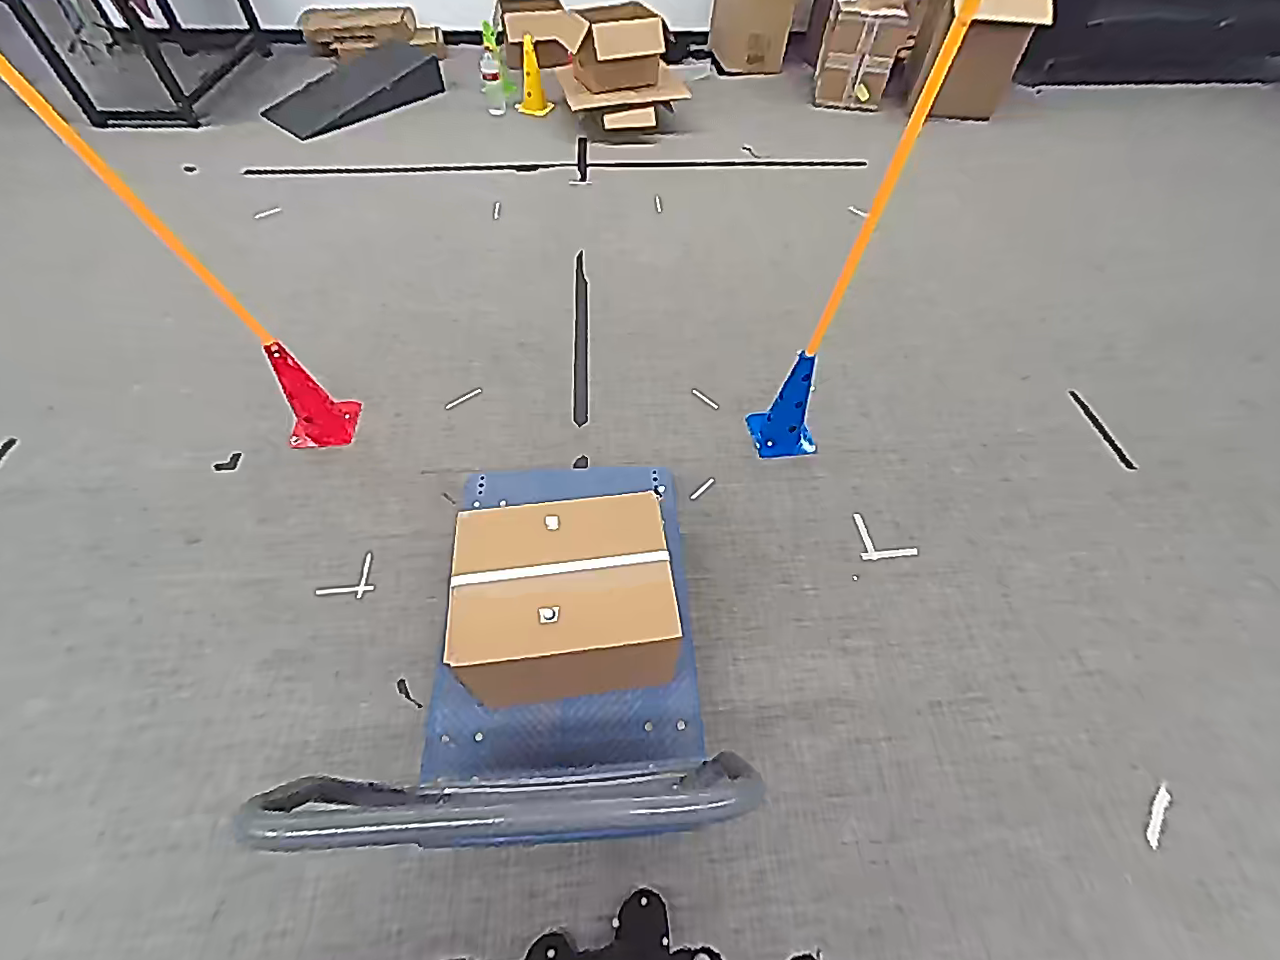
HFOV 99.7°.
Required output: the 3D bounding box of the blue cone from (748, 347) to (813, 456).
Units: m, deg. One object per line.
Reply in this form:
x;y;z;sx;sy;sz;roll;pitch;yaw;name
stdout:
0.487;-0.258;1.727;0.193;0.380;0.192;-6;54;-6;blue cone
